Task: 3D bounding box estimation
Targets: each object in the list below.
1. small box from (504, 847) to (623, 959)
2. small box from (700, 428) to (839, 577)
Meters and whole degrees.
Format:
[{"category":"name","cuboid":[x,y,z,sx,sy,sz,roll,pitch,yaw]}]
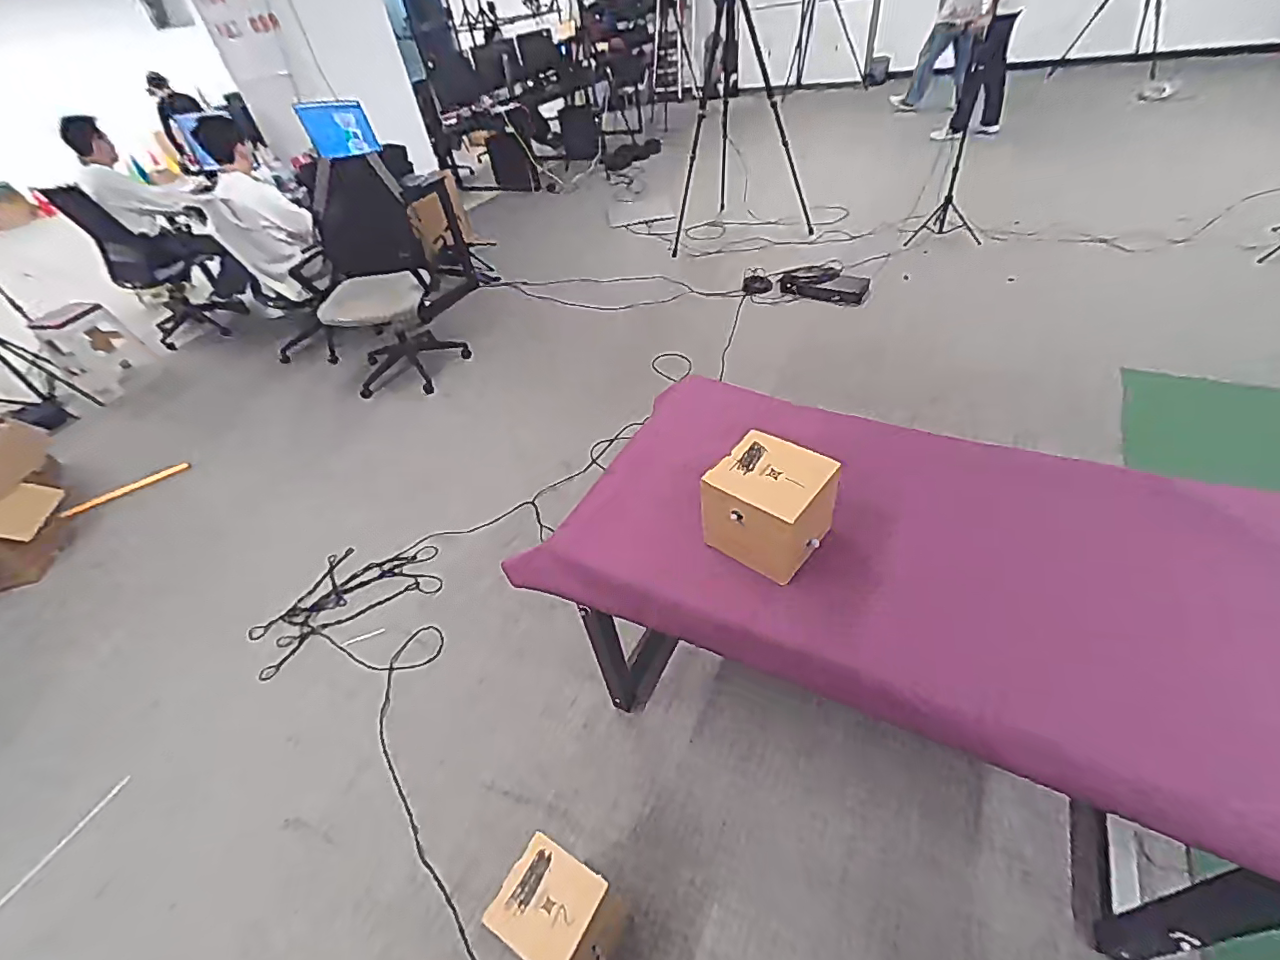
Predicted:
[{"category":"small box","cuboid":[-0.151,0.933,1.147,0.168,0.176,0.179,19,51,26]},{"category":"small box","cuboid":[0.225,0.041,0.962,0.179,0.176,0.168,28,55,32]}]
